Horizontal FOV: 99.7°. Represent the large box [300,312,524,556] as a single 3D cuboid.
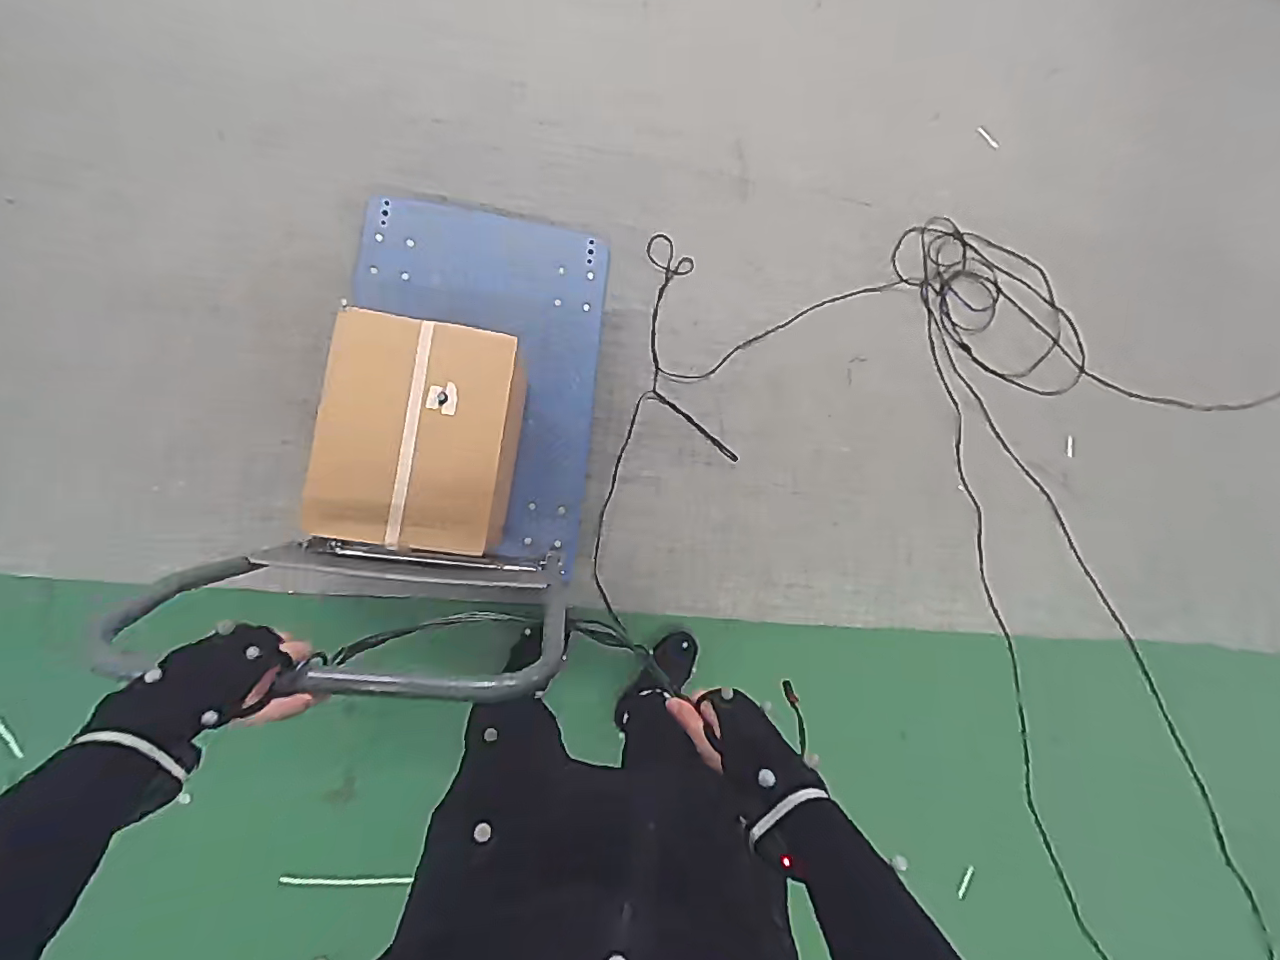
[{"bbox_3d":[-0.425,-0.069,1.096,0.320,0.320,0.408,9,85,-9],"label":"large box"}]
